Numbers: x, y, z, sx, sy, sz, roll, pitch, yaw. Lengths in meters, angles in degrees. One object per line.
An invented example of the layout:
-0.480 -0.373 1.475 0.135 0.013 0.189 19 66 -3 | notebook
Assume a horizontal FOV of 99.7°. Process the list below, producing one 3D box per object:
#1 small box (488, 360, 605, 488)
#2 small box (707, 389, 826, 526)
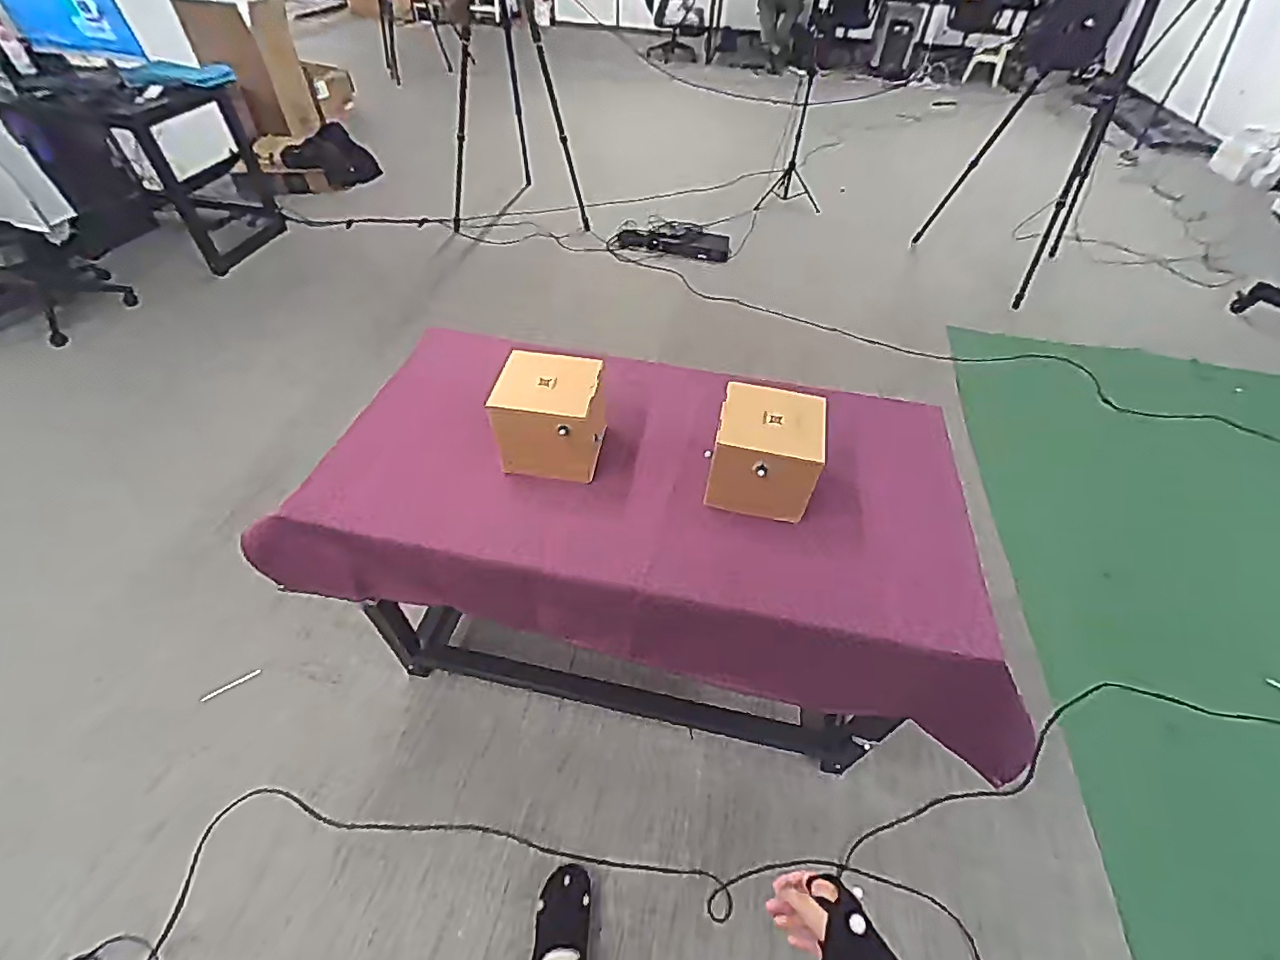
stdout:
-0.166 -0.103 1.020 0.179 0.176 0.168 7 48 3 | small box
0.222 -0.037 0.972 0.179 0.176 0.168 12 49 8 | small box
